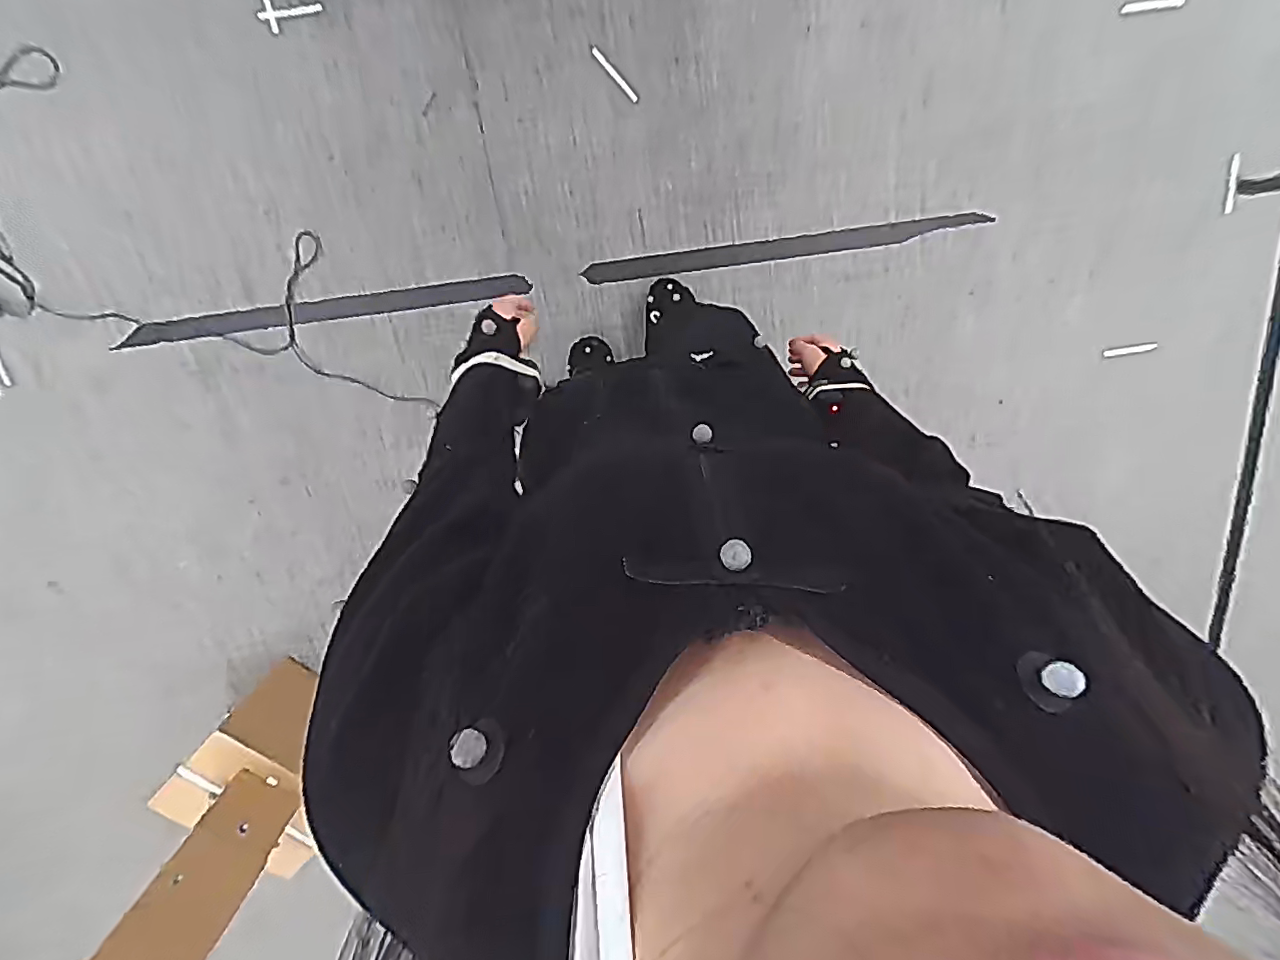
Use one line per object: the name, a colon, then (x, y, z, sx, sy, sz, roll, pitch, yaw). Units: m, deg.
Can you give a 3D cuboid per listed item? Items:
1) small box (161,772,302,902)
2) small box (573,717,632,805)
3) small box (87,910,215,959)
small box: (-0.966, 0.847, 1.298, 0.179, 0.176, 0.168, 39, 99, -12)
small box: (-0.119, 0.855, 1.667, 0.168, 0.176, 0.179, -6, 107, -5)
small box: (-0.942, 0.937, 0.982, 0.179, 0.176, 0.168, 40, 100, -13)
